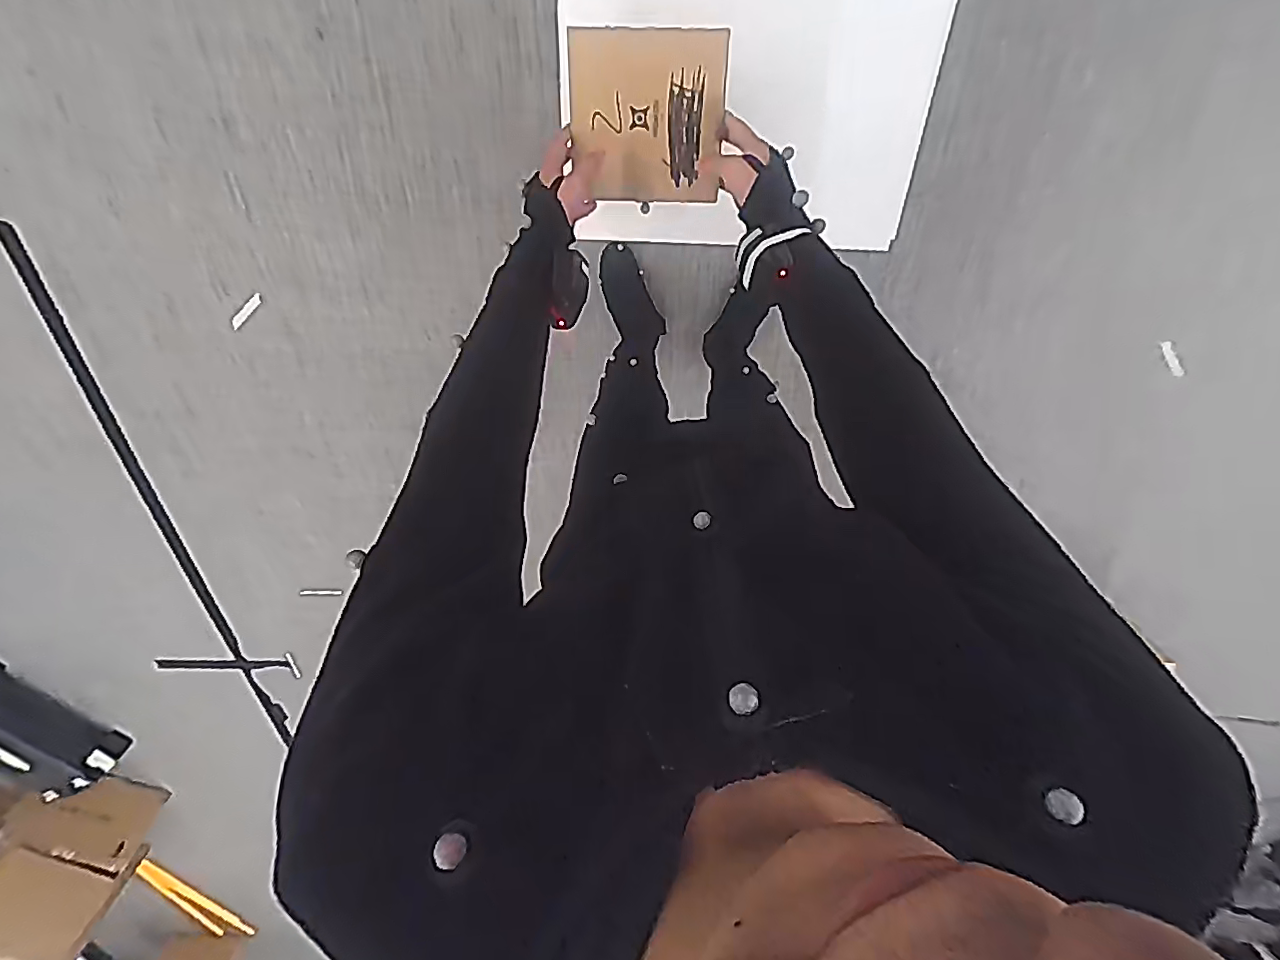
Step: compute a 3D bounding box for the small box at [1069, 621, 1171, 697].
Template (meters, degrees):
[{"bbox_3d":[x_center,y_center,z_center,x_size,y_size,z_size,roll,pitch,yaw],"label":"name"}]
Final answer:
[{"bbox_3d":[1.645,0.618,1.870,0.168,0.176,0.179,8,120,-6],"label":"small box"}]
